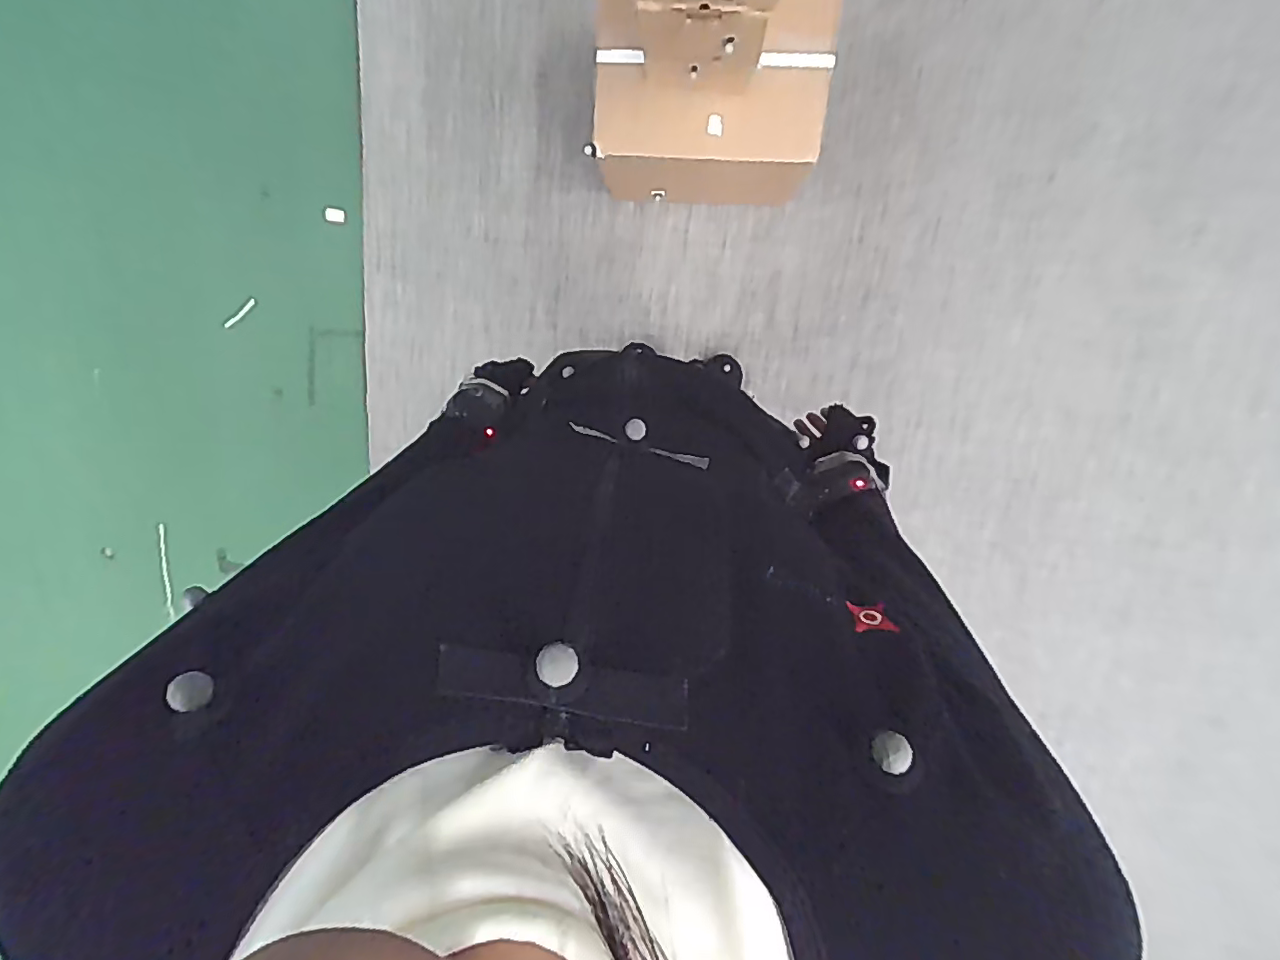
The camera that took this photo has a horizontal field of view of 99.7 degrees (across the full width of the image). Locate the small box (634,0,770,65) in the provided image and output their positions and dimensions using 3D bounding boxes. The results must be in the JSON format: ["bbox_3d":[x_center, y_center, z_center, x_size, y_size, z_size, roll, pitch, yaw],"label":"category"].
[{"bbox_3d":[0.086,-0.666,0.694,0.168,0.176,0.179,5,109,3],"label":"small box"}]

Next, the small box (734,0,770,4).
[{"bbox_3d":[0.080,-0.617,0.538,0.168,0.176,0.179,5,111,3],"label":"small box"}]
